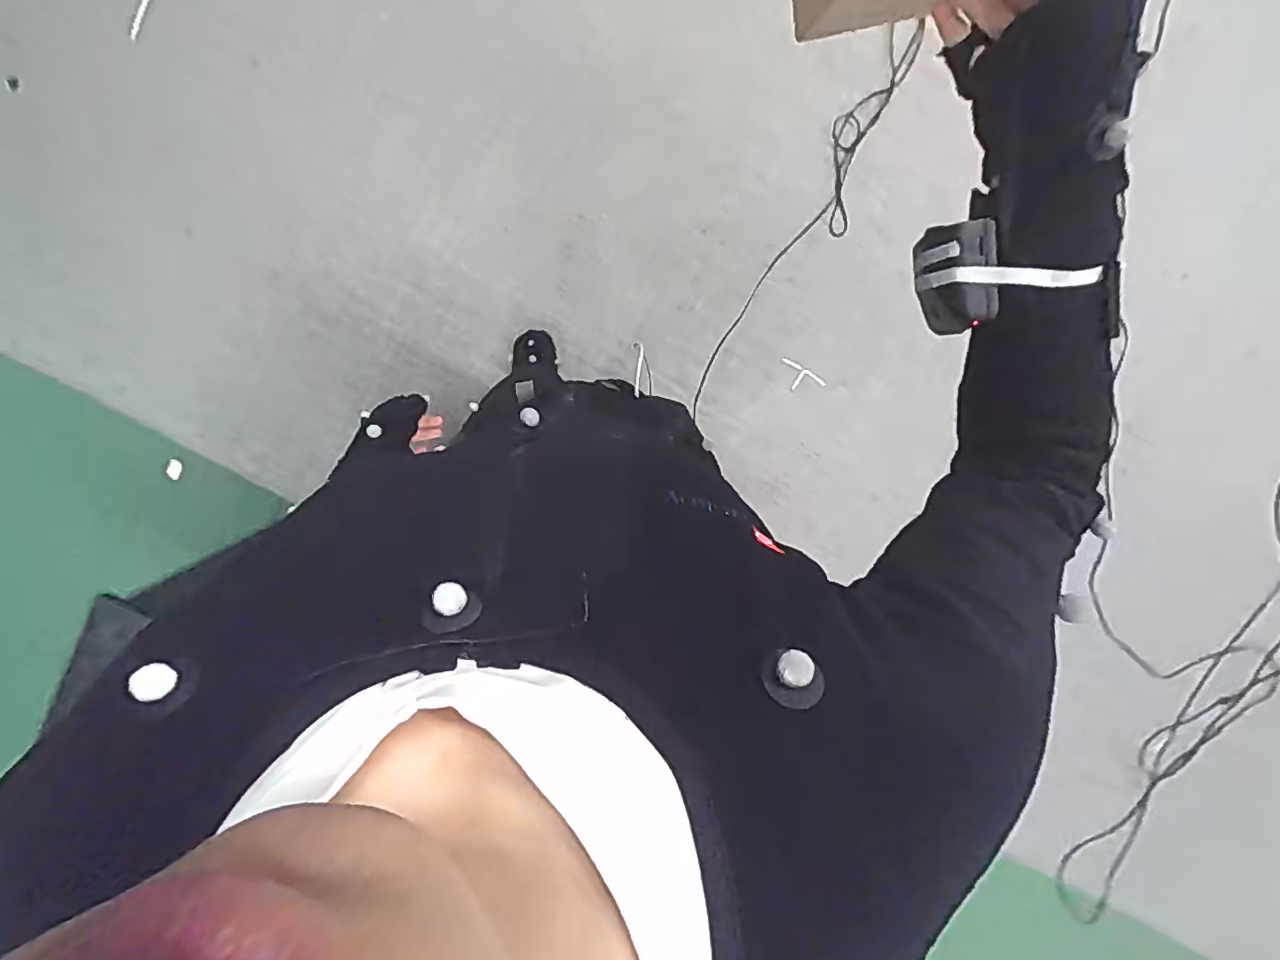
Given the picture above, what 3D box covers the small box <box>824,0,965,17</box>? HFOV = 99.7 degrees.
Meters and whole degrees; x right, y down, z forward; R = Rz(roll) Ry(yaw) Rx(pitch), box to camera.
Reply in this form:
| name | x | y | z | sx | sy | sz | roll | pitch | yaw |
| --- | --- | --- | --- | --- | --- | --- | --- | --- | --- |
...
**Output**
| name | x | y | z | sx | sy | sz | roll | pitch | yaw |
| --- | --- | --- | --- | --- | --- | --- | --- | --- | --- |
| small box | 0.201 | -0.403 | 0.305 | 0.168 | 0.176 | 0.179 | -12 | 111 | -2 |
